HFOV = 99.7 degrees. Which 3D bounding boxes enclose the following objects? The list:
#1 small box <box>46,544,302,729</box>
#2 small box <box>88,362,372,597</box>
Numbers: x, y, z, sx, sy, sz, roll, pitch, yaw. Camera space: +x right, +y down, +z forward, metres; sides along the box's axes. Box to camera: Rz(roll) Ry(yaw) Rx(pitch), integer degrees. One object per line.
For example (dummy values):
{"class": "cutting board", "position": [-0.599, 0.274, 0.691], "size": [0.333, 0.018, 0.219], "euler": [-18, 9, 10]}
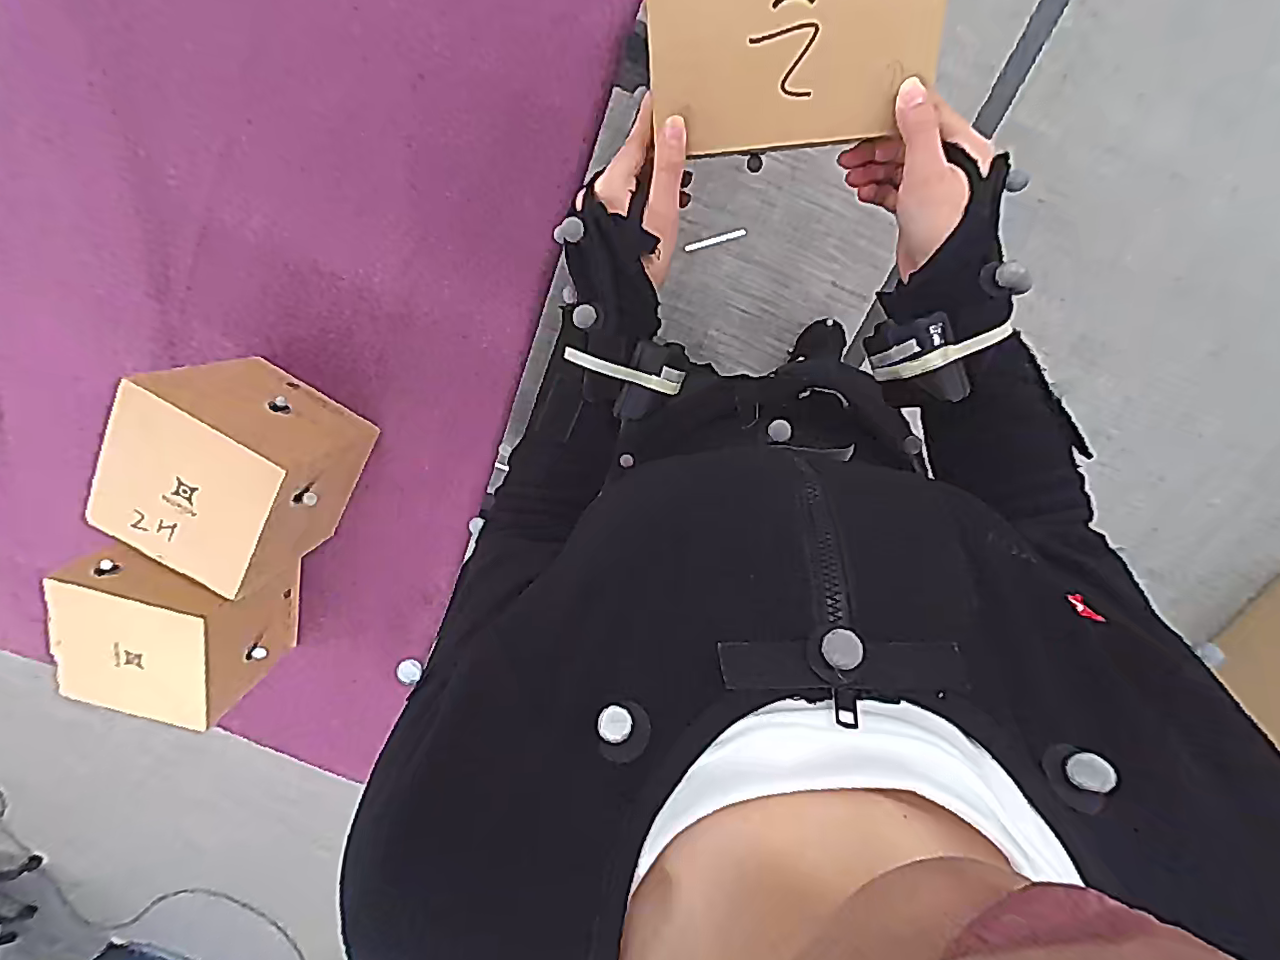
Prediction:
{"class": "small box", "position": [-0.556, 0.169, 0.674], "size": [0.179, 0.176, 0.168], "euler": [15, 110, -1]}
{"class": "small box", "position": [-0.433, -0.013, 0.599], "size": [0.168, 0.176, 0.179], "euler": [32, 109, -5]}
